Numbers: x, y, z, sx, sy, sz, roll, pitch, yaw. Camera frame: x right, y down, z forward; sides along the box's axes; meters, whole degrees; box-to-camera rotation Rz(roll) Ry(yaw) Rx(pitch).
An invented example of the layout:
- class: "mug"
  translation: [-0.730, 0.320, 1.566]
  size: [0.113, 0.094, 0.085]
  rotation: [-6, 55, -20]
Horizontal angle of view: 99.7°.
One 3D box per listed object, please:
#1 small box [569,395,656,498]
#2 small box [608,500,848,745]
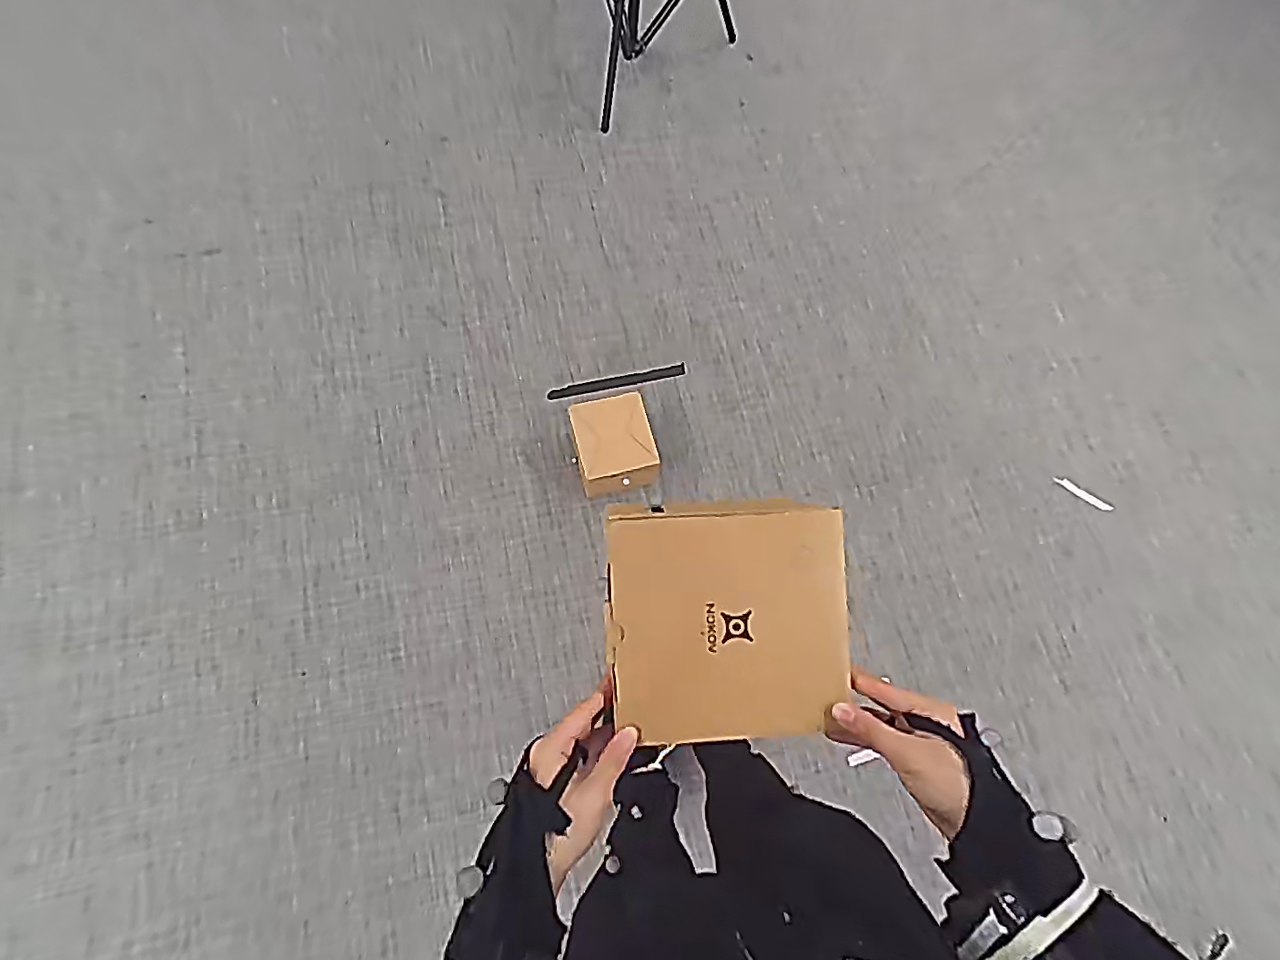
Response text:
- class: "small box"
  translation: [-0.066, -0.076, 1.251]
  size: [0.168, 0.176, 0.179]
  rotation: [-13, 76, -9]
- class: "small box"
  translation: [0.062, 0.106, 0.476]
  size: [0.179, 0.176, 0.168]
  rotation: [-3, 91, -2]
